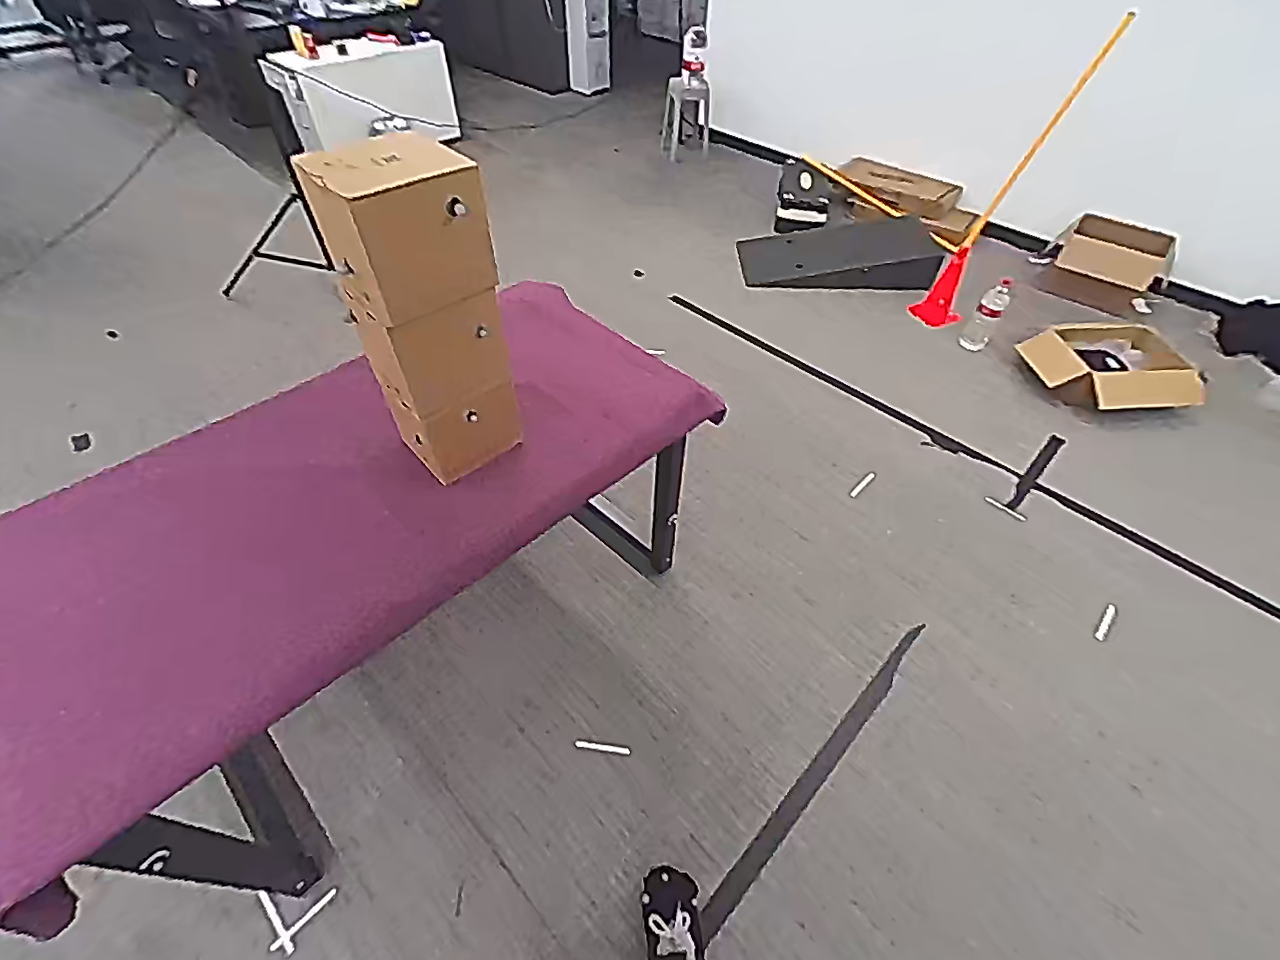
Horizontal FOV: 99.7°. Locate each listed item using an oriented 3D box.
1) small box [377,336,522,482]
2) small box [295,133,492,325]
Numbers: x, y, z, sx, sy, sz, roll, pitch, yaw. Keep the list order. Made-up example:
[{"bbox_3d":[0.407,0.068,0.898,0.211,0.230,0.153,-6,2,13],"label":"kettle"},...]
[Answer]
[{"bbox_3d":[-0.339,-0.128,0.992,0.179,0.176,0.168,-35,59,-28],"label":"small box"},{"bbox_3d":[-0.323,-0.346,0.746,0.179,0.176,0.168,-36,59,-27],"label":"small box"}]
